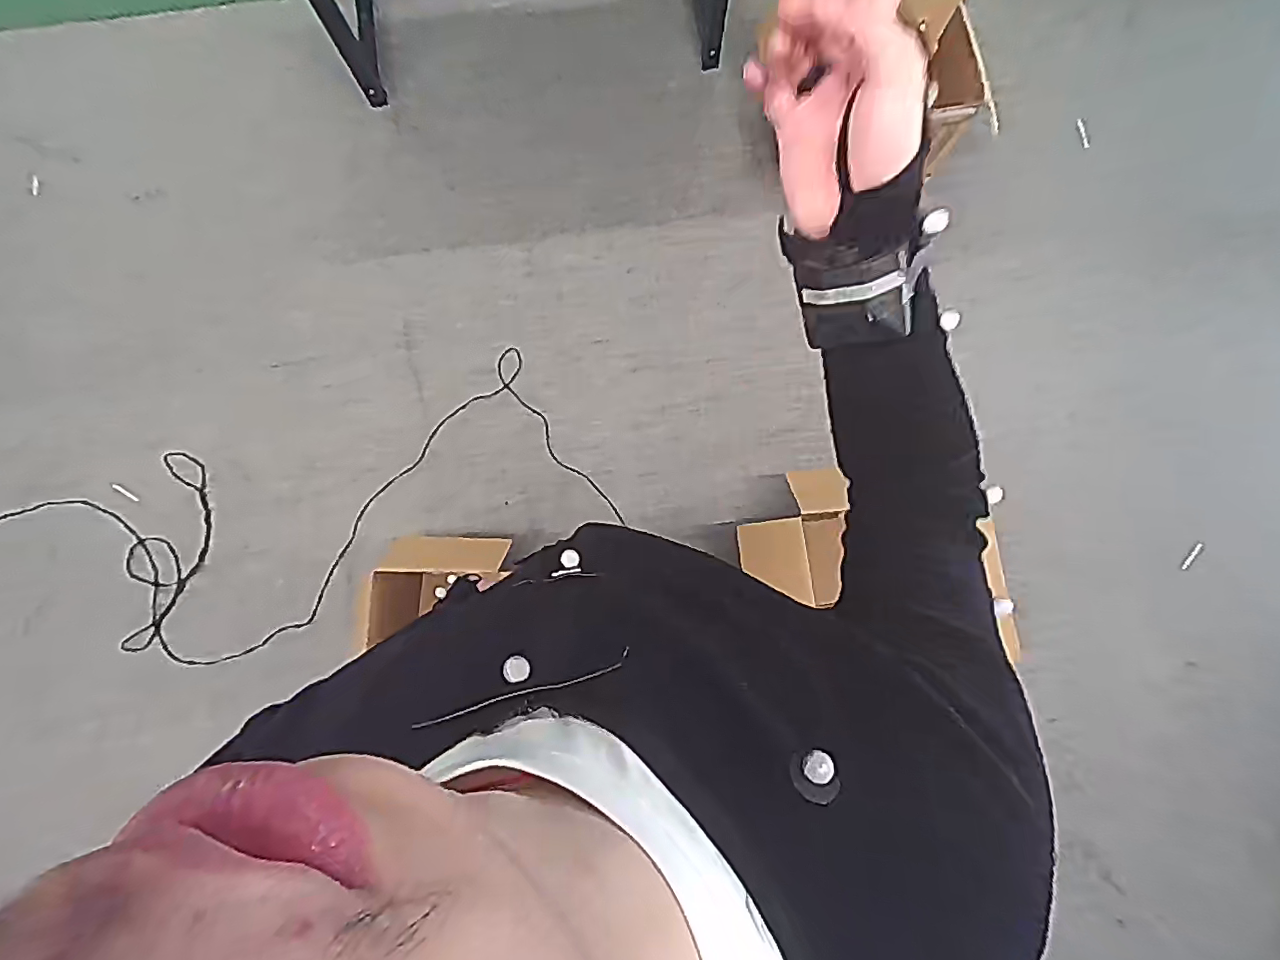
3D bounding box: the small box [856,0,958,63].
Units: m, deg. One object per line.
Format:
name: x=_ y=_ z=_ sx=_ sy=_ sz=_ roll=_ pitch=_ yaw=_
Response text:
small box: x=0.695 y=-1.237 z=1.413 sx=0.168 sy=0.176 sz=0.179 roll=-15 pitch=81 yaw=-3
